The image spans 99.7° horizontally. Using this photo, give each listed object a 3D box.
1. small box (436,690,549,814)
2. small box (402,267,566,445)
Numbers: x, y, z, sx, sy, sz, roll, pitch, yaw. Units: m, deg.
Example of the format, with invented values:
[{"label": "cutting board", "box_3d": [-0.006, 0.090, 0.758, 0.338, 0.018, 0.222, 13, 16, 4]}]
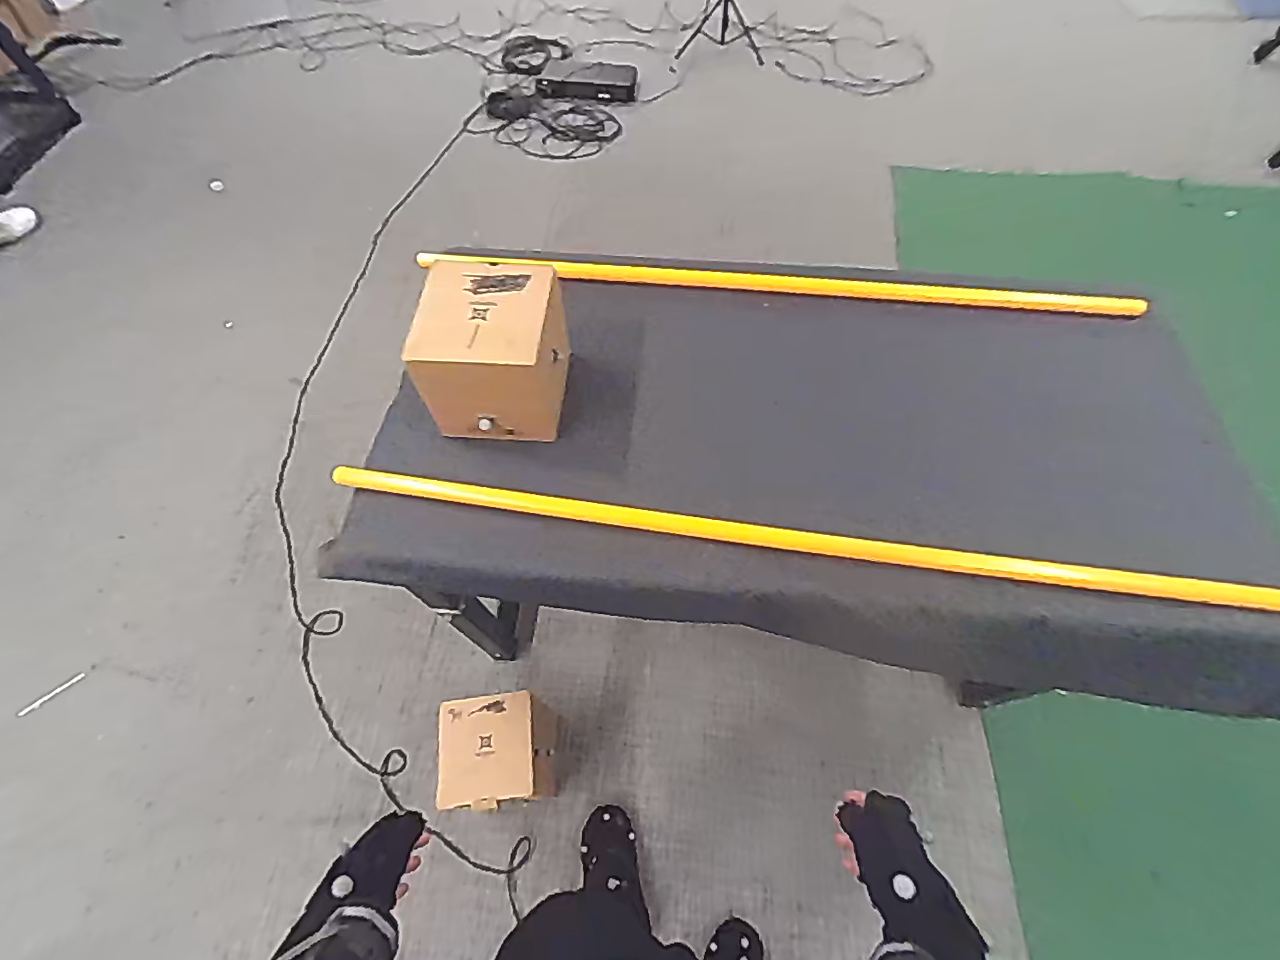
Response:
[{"label": "small box", "box_3d": [-0.273, 0.513, 1.024, 0.168, 0.176, 0.179, -10, 60, -2]}, {"label": "small box", "box_3d": [-0.201, -0.170, 0.758, 0.168, 0.176, 0.179, 3, 61, 3]}]
